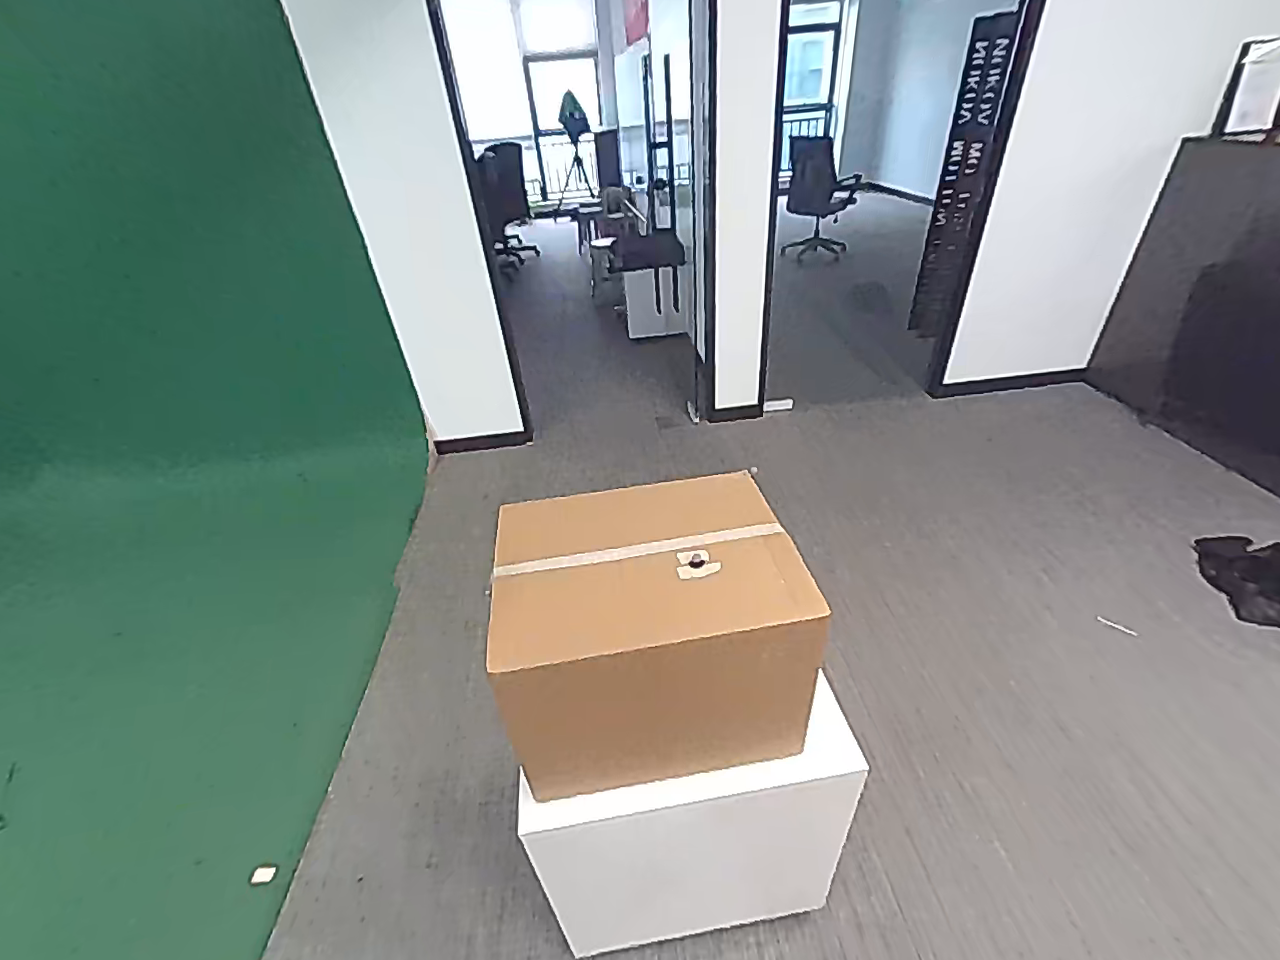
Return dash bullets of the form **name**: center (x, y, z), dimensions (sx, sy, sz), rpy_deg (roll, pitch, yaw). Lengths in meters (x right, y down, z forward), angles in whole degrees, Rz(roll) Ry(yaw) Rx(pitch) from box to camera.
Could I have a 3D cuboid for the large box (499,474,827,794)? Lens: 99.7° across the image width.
- **large box**: center (0.015, 0.222, 0.834), dimensions (0.408, 0.320, 0.320), rpy_deg (-7, 36, -6)
